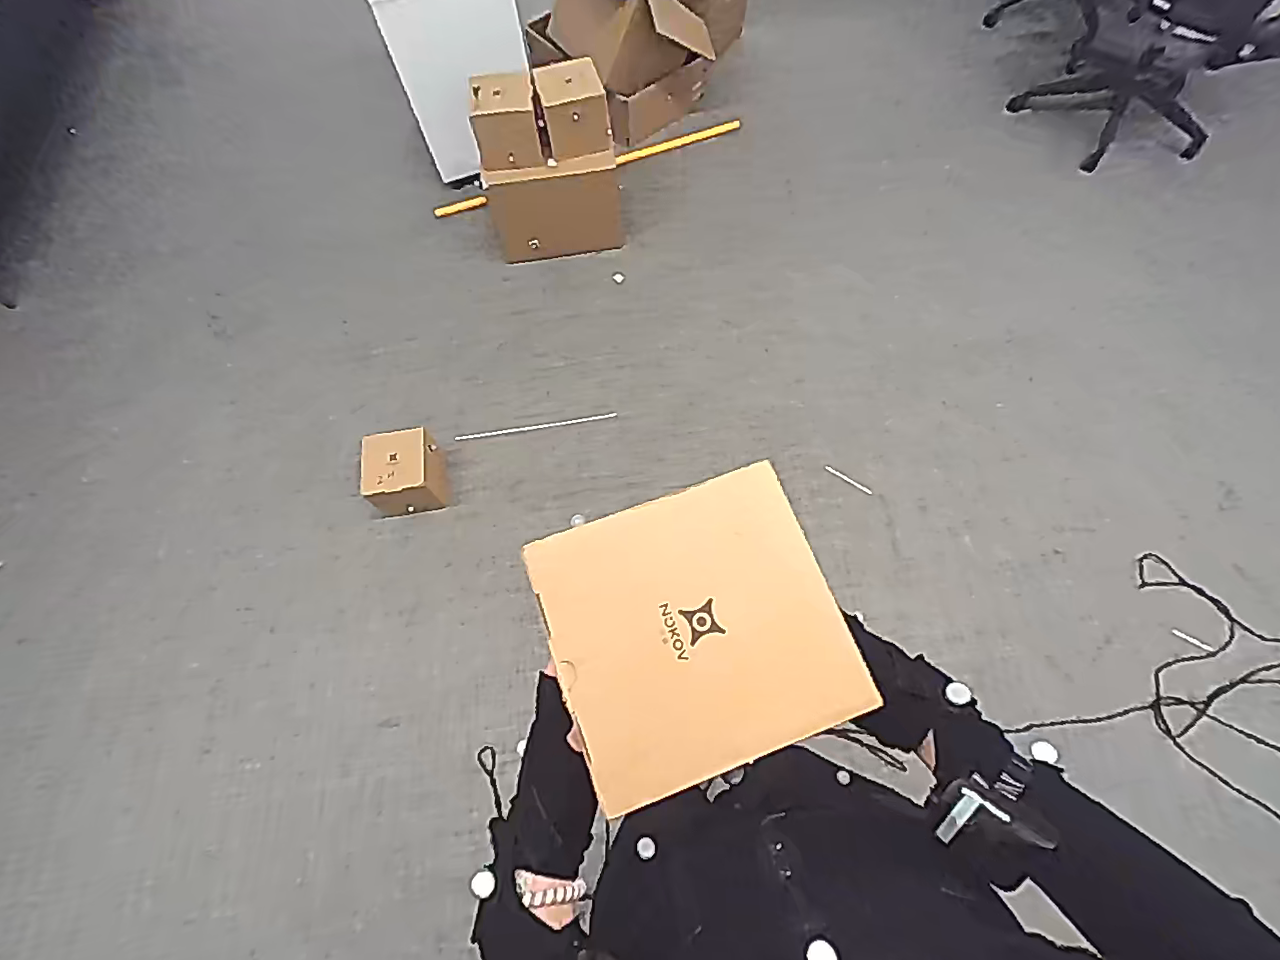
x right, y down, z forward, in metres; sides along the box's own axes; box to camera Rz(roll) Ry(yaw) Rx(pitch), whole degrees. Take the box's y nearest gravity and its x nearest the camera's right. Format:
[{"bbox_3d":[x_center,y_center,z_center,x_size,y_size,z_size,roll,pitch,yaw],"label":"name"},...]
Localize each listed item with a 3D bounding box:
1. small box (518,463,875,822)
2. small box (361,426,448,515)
[{"bbox_3d":[0.030,0.110,0.402,0.179,0.176,0.168,-20,75,-5],"label":"small box"},{"bbox_3d":[-0.636,-0.022,1.478,0.168,0.176,0.179,-10,67,-1],"label":"small box"}]
